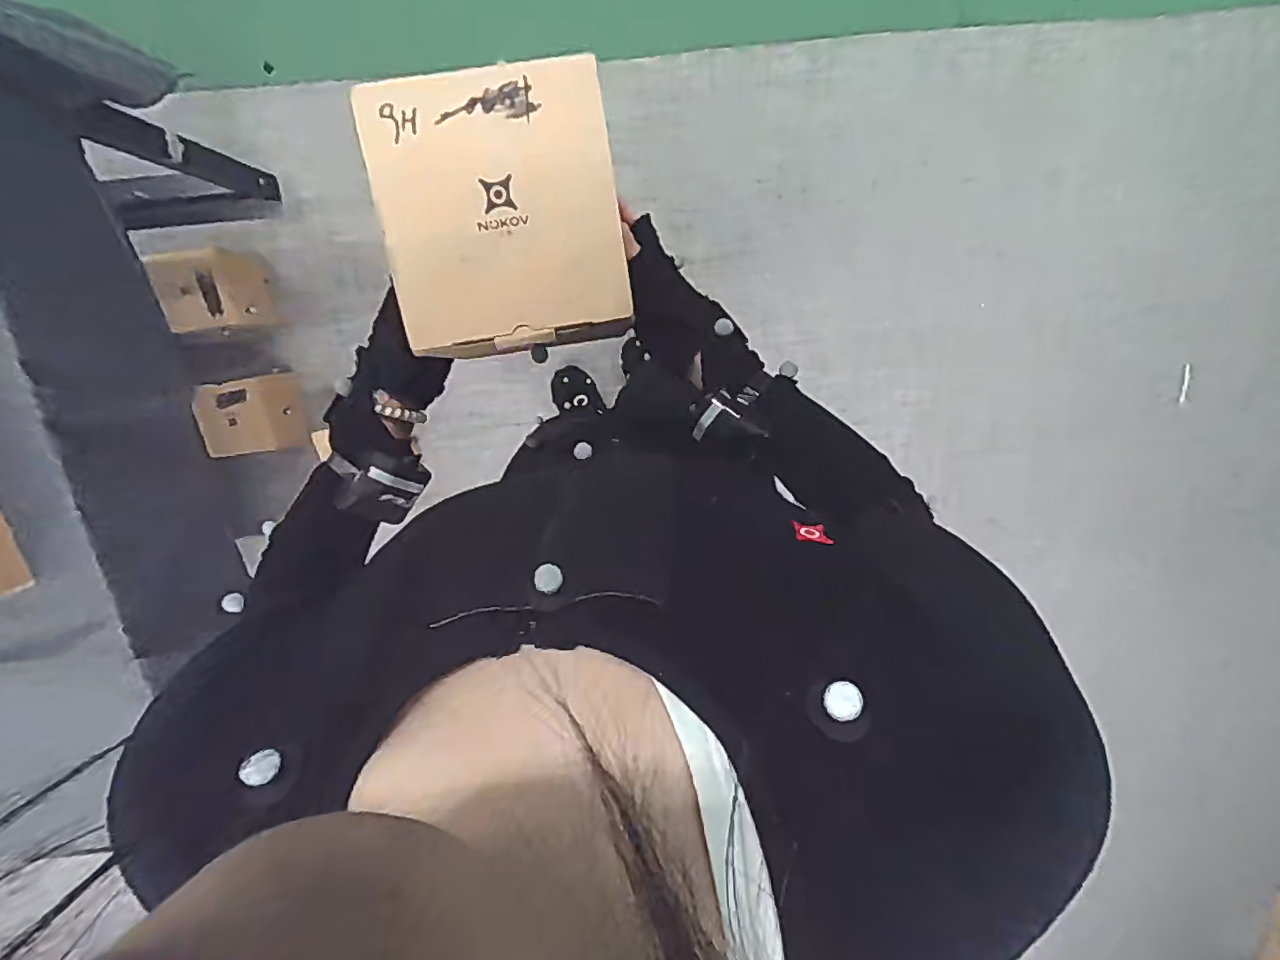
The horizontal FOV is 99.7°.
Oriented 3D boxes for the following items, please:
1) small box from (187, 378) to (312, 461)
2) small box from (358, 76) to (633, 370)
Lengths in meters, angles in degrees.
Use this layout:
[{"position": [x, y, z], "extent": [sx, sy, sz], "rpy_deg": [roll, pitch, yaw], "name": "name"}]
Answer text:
[{"position": [-0.967, -0.158, 1.356], "extent": [0.168, 0.176, 0.179], "rpy_deg": [-7, 107, 0], "name": "small box"}, {"position": [-0.100, -0.193, 0.455], "extent": [0.168, 0.176, 0.179], "rpy_deg": [-9, 103, -3], "name": "small box"}]
